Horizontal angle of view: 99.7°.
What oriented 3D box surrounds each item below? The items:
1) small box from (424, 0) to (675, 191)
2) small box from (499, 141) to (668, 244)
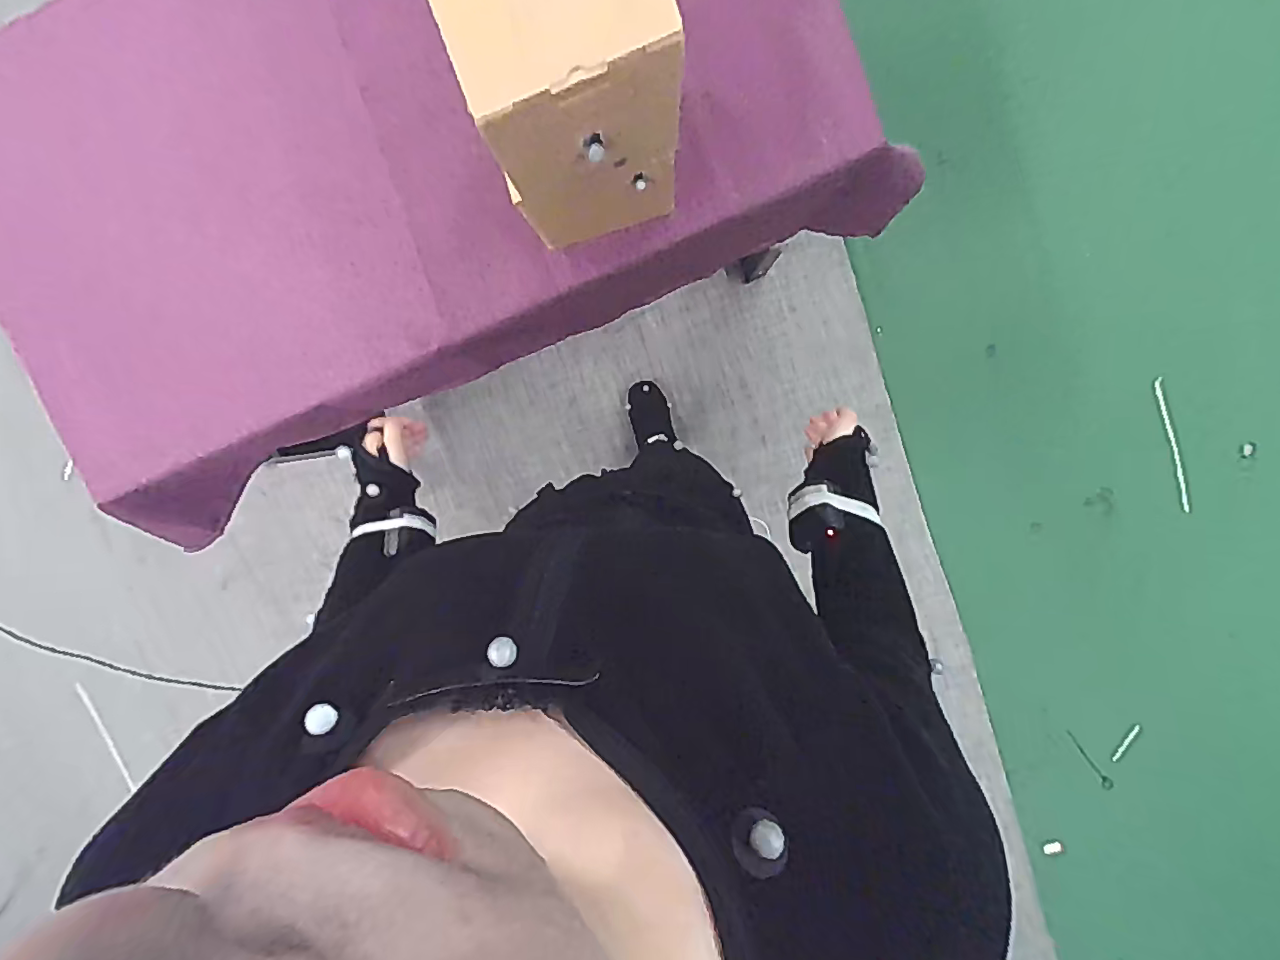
[{"bbox_3d":[-0.074,-0.377,0.463,0.168,0.176,0.179,-19,97,4],"label":"small box"},{"bbox_3d":[-0.070,-0.397,0.626,0.179,0.176,0.168,-16,96,4],"label":"small box"}]
